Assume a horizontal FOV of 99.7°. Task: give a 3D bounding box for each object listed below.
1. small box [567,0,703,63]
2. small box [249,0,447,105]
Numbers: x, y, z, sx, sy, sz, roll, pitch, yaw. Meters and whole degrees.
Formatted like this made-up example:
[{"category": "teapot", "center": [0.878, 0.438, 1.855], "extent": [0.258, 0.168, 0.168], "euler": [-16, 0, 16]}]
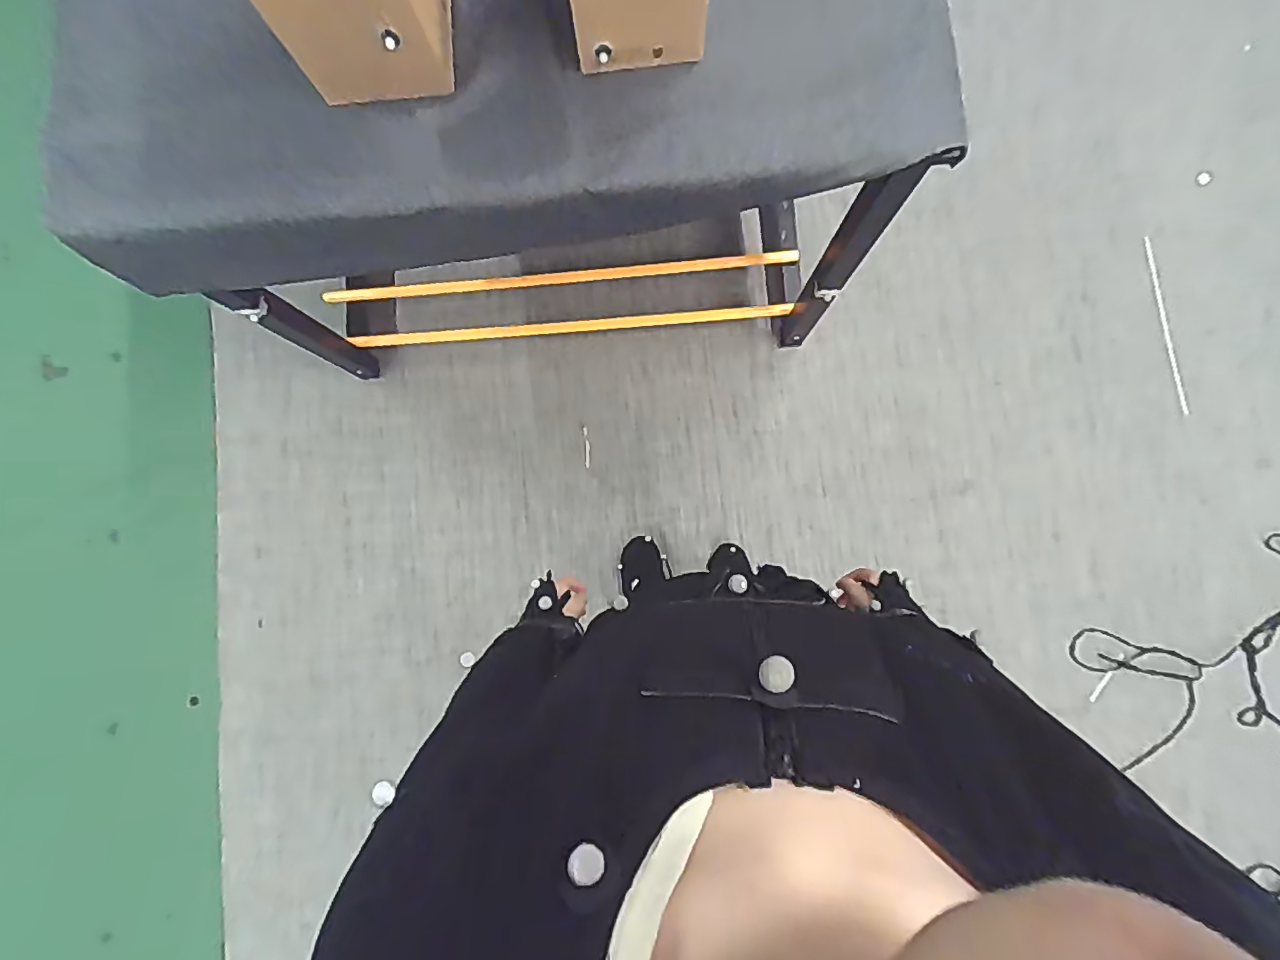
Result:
[{"category": "small box", "center": [-0.012, -0.647, 0.654], "extent": [0.168, 0.176, 0.179], "euler": [-6, 82, 1]}, {"category": "small box", "center": [-0.346, -0.601, 0.659], "extent": [0.179, 0.176, 0.168], "euler": [-5, 82, 2]}]
